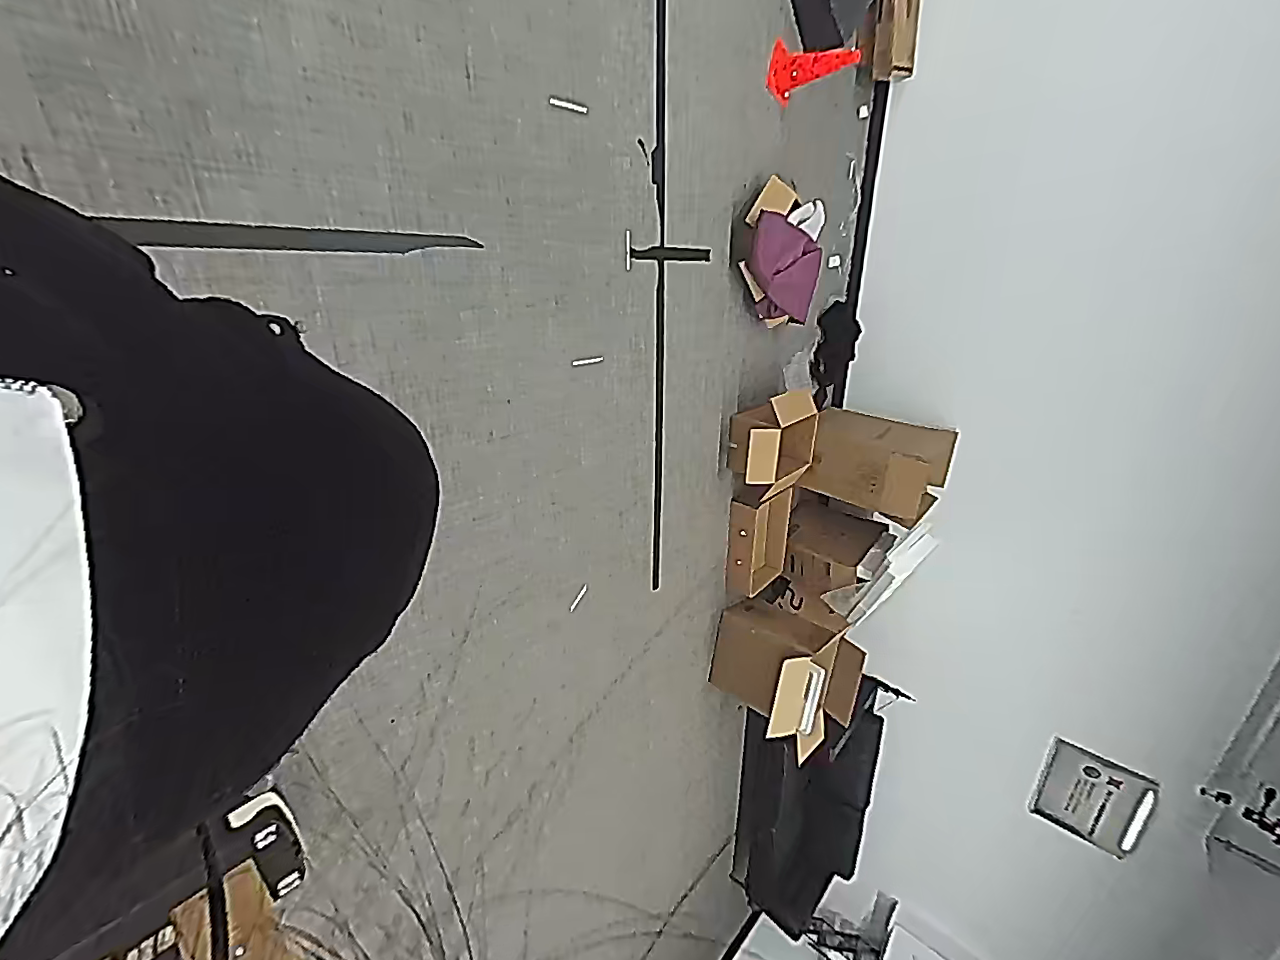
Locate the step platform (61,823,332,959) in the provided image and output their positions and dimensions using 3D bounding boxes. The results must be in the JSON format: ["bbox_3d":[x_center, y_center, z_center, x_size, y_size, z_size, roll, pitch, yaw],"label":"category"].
[{"bbox_3d":[-1.056,1.090,1.141,0.684,0.204,0.286,-25,124,-42],"label":"step platform"}]

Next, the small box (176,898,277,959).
[{"bbox_3d":[-0.972,1.075,1.293,0.168,0.176,0.179,-25,123,-43],"label":"small box"}]

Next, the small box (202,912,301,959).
[{"bbox_3d":[-0.849,1.122,1.195,0.168,0.176,0.179,-26,124,-42],"label":"small box"}]
